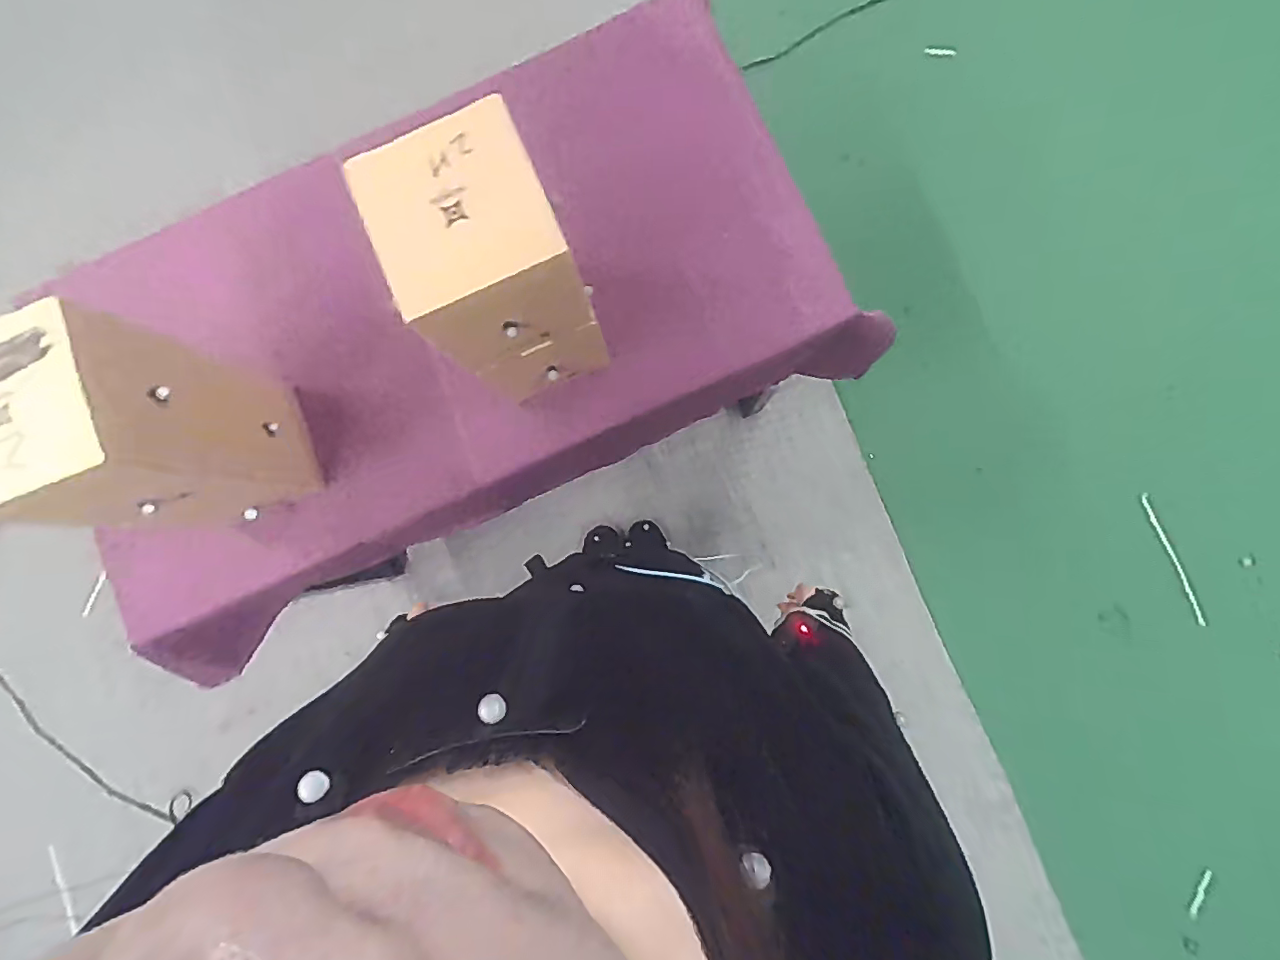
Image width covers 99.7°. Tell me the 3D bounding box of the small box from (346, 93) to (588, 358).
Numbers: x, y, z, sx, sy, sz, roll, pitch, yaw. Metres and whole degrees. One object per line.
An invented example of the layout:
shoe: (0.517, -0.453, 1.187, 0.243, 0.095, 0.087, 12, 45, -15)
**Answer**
small box: (-0.167, -0.249, 0.581, 0.168, 0.176, 0.179, -23, 85, 0)

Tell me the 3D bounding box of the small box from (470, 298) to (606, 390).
small box: (-0.156, -0.238, 0.747, 0.168, 0.176, 0.179, -23, 86, 0)
